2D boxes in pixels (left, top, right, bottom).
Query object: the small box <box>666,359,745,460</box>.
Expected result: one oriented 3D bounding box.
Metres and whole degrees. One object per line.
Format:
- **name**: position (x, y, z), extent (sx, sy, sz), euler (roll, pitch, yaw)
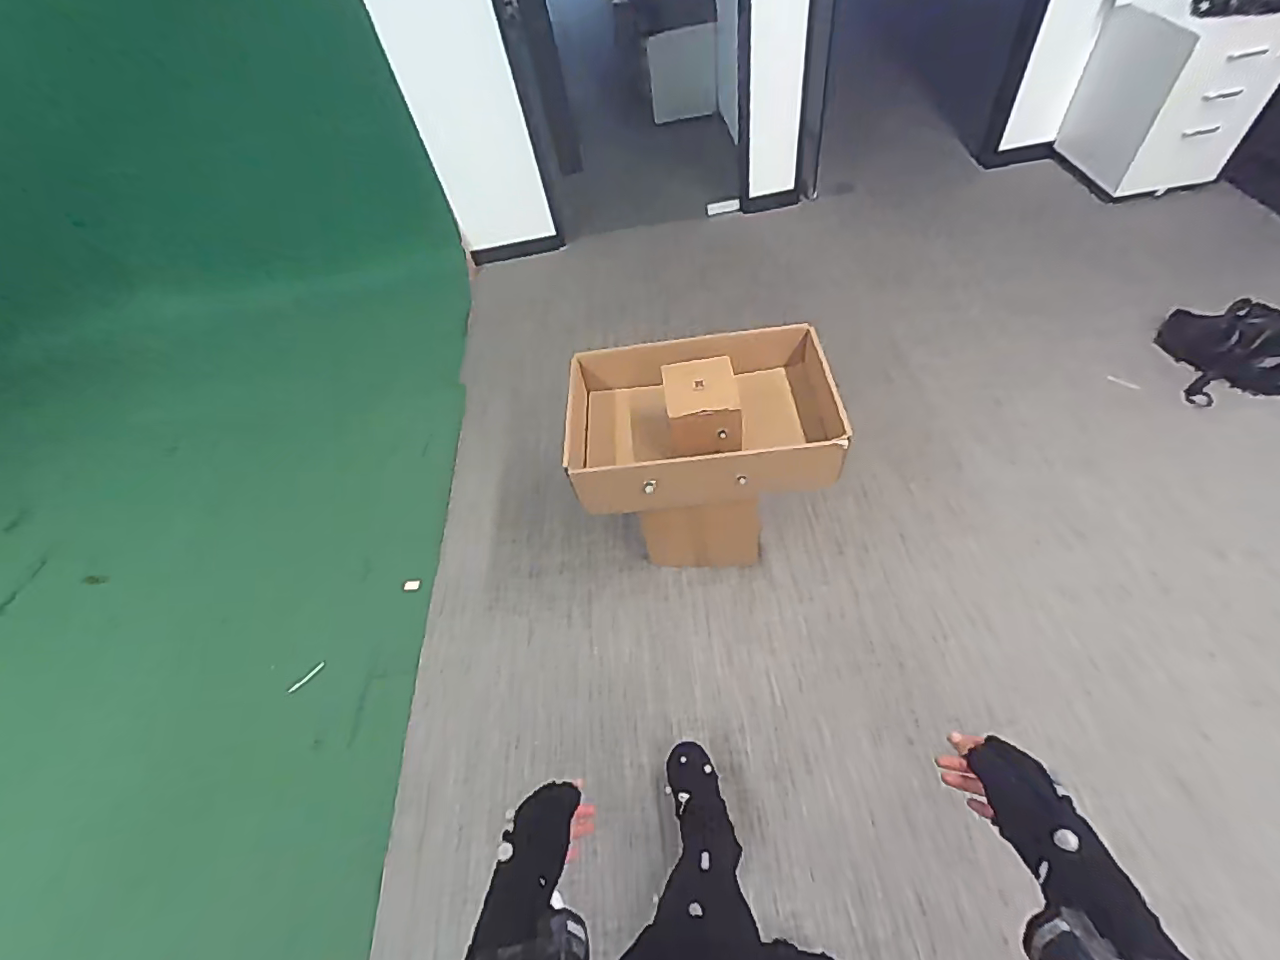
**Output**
- **small box**: position (0.157, -0.161, 1.300), extent (0.168, 0.176, 0.179), euler (-7, 50, 3)
